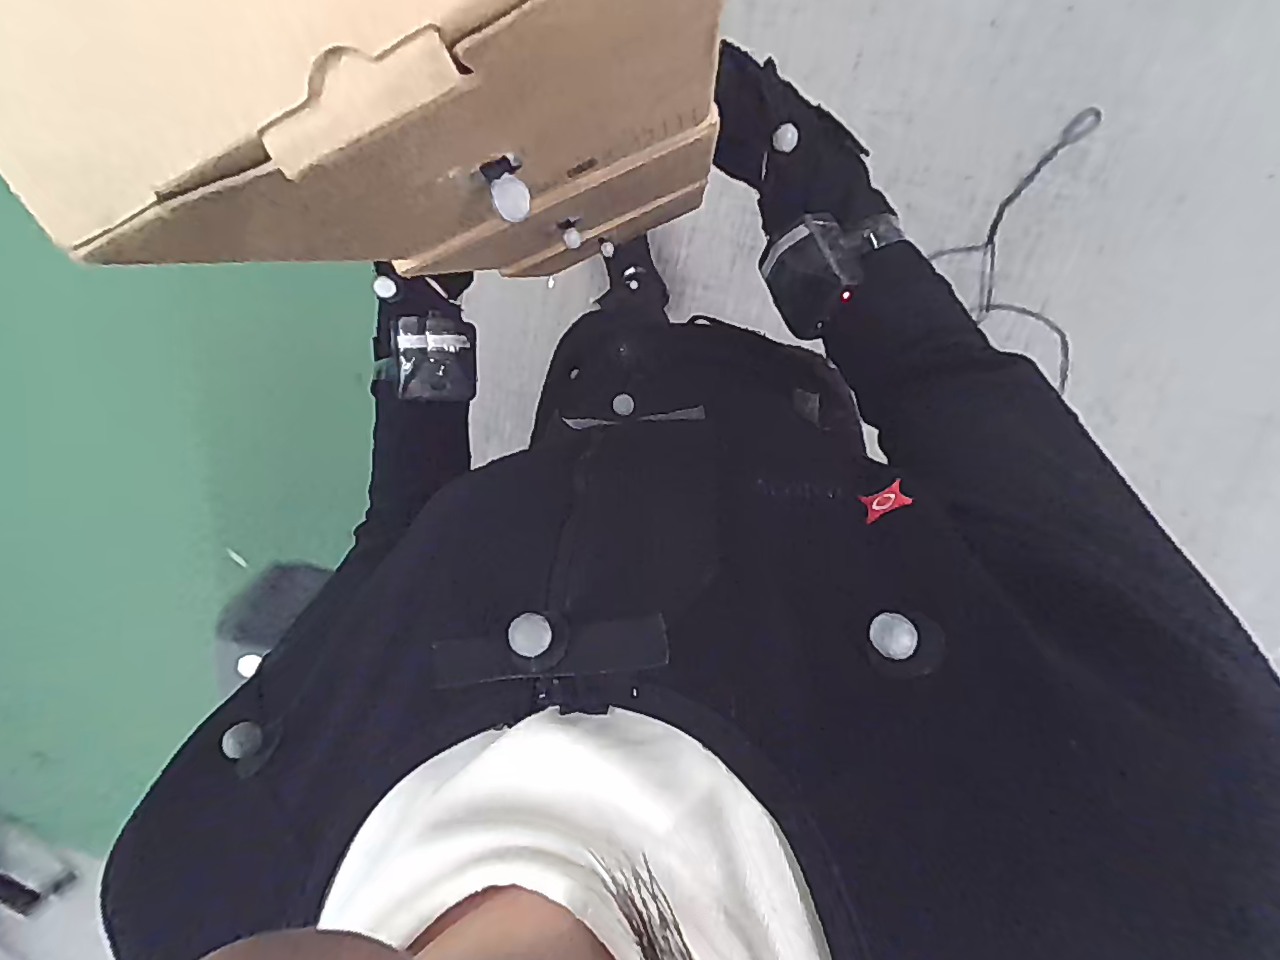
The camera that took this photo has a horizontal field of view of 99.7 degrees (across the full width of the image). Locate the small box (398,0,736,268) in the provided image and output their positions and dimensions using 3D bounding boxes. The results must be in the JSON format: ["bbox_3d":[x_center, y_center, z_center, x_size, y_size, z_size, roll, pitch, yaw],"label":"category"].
[{"bbox_3d":[-0.061,-0.239,0.309,0.179,0.176,0.168,-20,109,13],"label":"small box"}]

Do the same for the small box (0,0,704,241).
[{"bbox_3d":[-0.081,-0.187,0.155,0.168,0.176,0.179,-16,111,12],"label":"small box"}]
